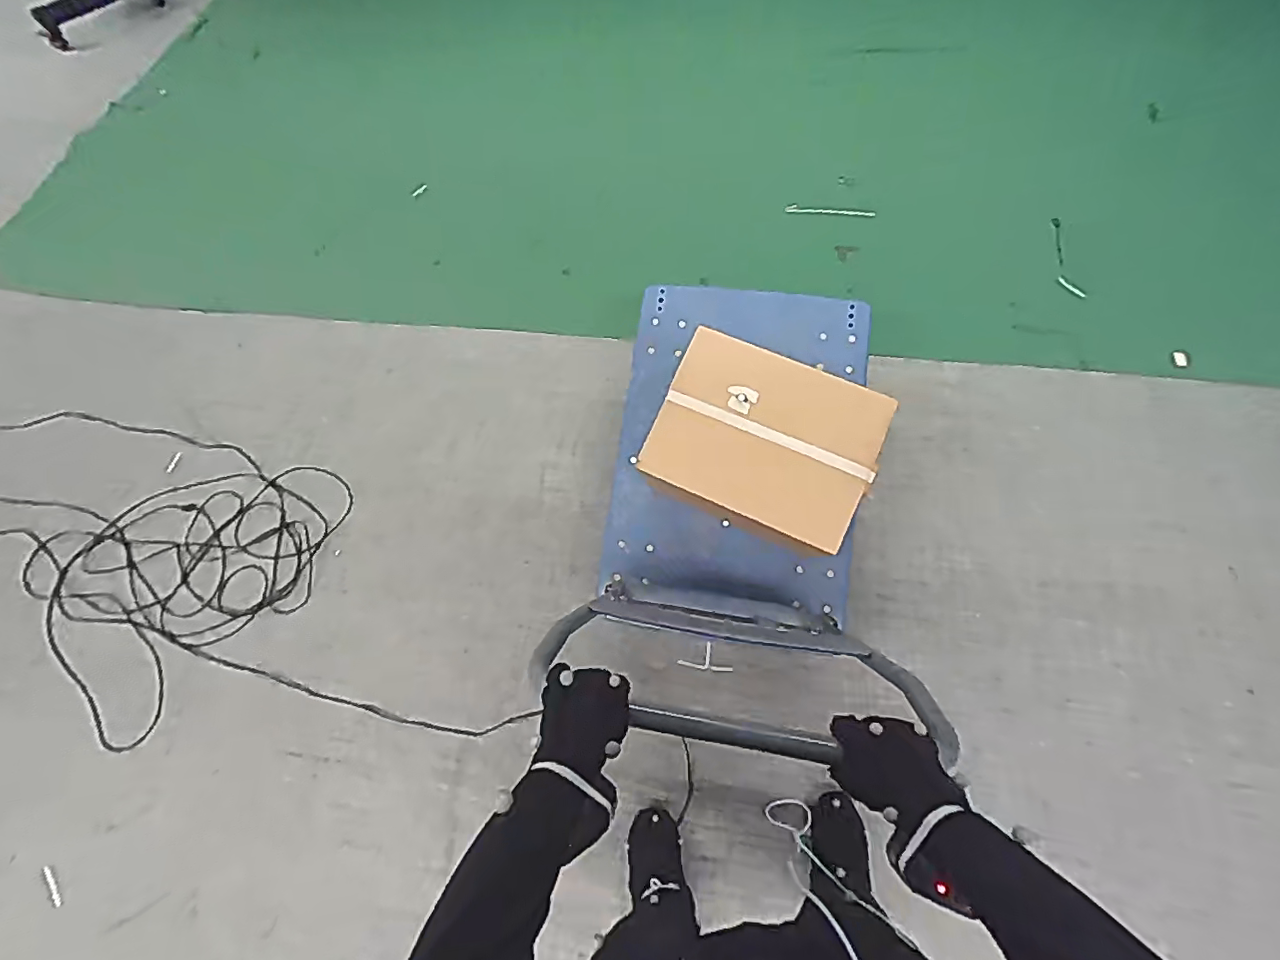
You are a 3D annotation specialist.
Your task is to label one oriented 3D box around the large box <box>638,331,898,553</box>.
[{"bbox_3d":[0.258,-0.059,1.156,0.408,0.320,0.320,23,84,11],"label":"large box"}]
